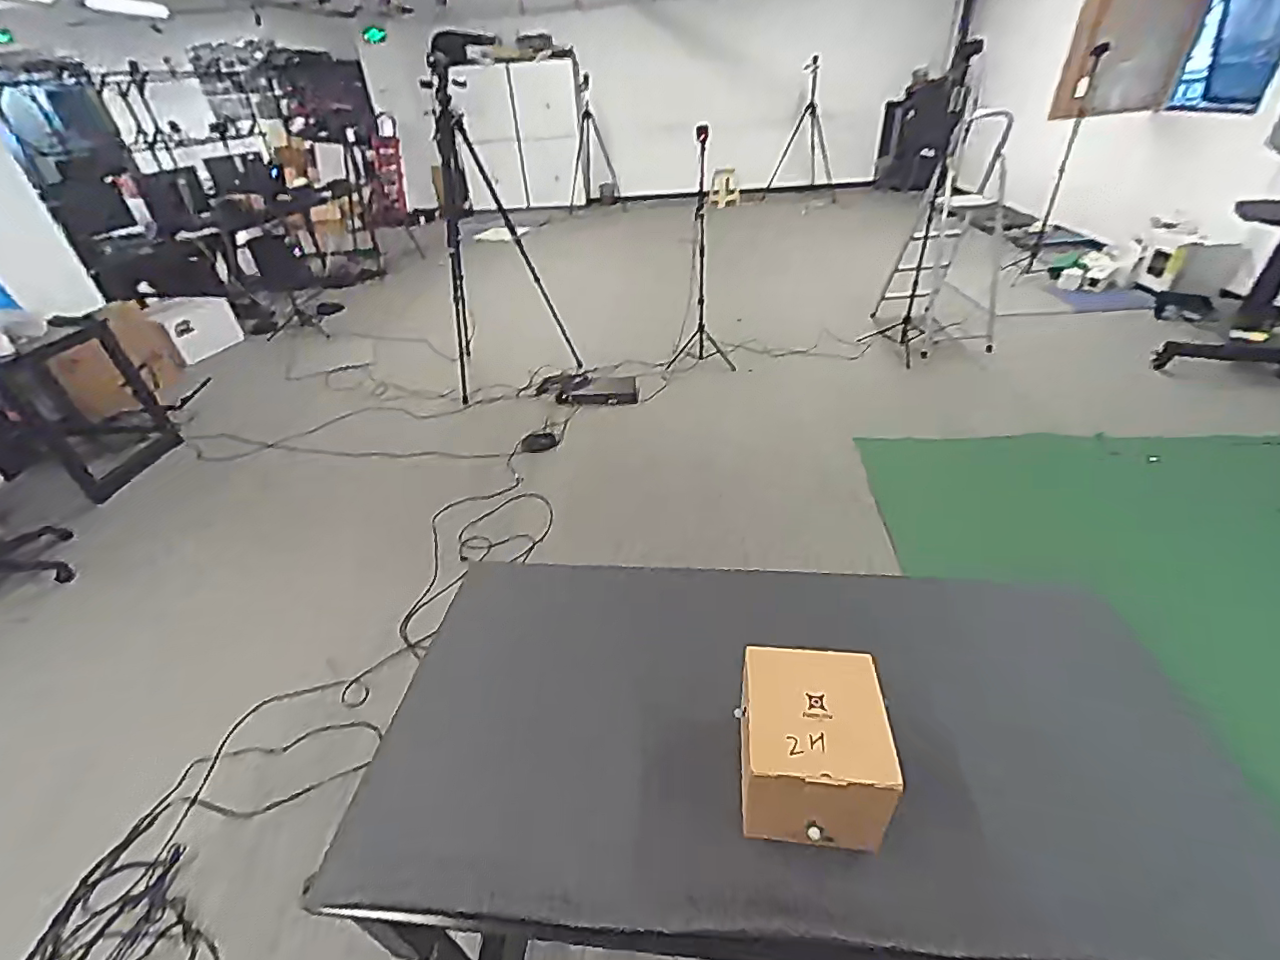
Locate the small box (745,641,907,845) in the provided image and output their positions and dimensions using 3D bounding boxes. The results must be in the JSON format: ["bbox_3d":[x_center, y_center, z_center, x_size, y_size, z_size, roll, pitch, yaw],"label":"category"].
[{"bbox_3d":[0.226,0.339,0.709,0.168,0.176,0.179,1,36,8],"label":"small box"}]
